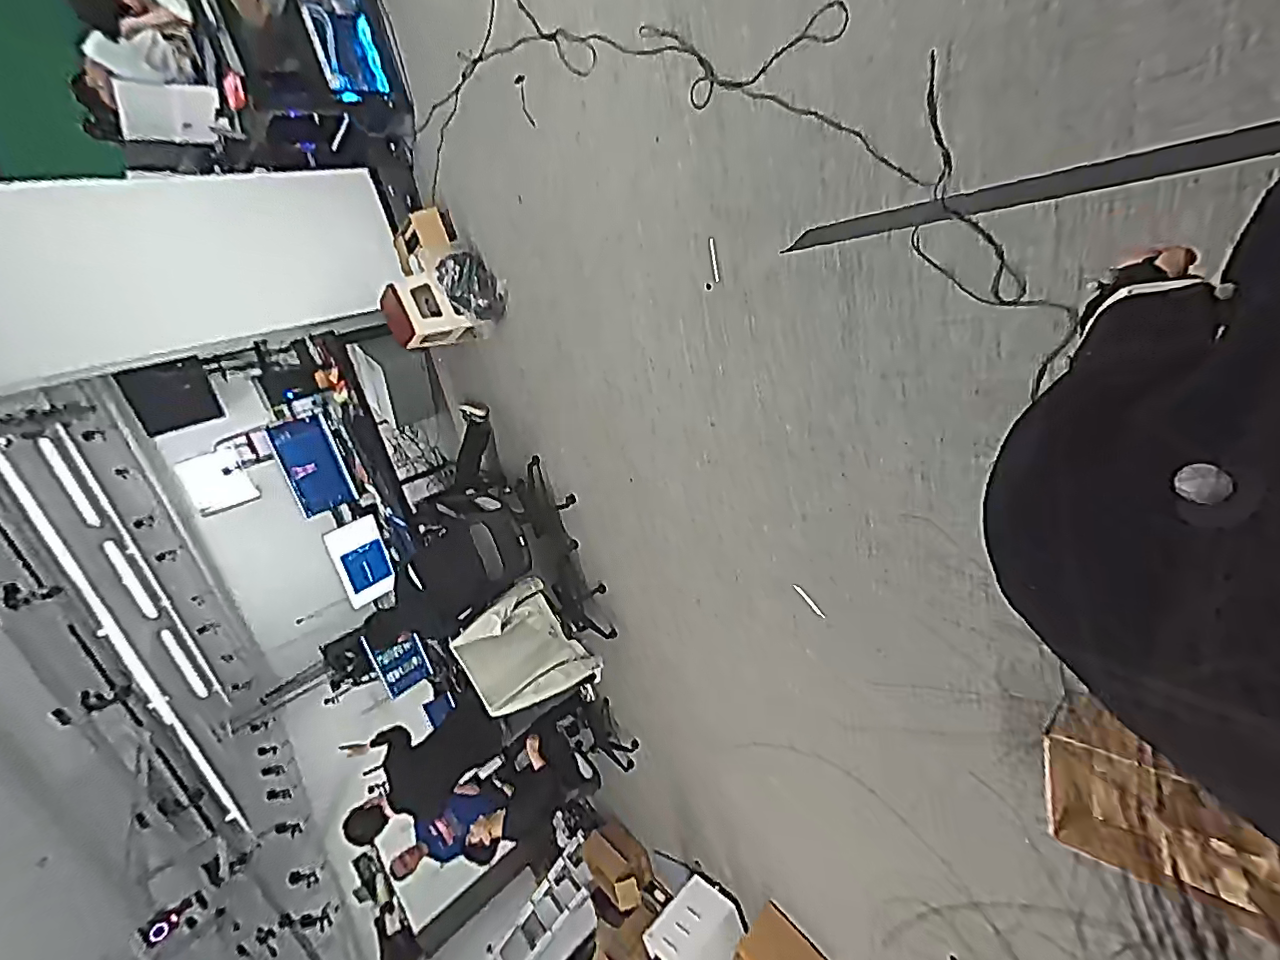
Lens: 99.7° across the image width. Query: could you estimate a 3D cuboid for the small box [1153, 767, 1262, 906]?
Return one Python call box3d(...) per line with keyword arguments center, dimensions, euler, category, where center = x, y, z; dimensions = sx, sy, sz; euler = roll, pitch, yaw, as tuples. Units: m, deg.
box3d(center=(1.340, 0.831, 1.278), dimensions=(0.168, 0.176, 0.179), euler=(3, 116, 50), category="small box")
